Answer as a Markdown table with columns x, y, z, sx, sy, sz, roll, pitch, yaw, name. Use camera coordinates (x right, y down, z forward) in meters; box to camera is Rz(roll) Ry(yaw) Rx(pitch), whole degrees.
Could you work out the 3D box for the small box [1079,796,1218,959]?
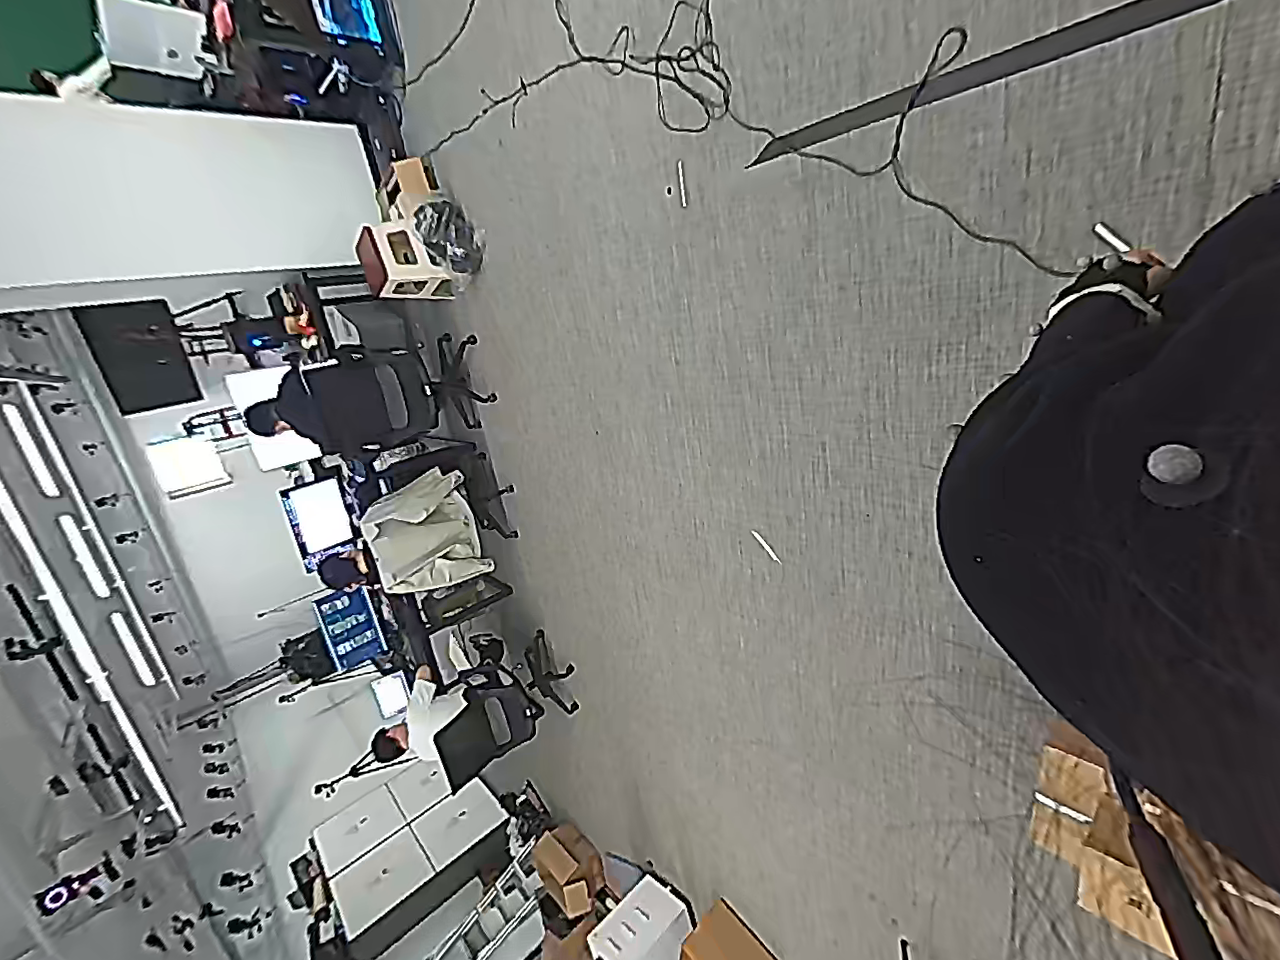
| x | y | z | sx | sy | sz | roll | pitch | yaw | name |
| --- | --- | --- | --- | --- | --- | --- | --- | --- | --- |
| 1.003 | 0.774 | 1.068 | 0.179 | 0.176 | 0.168 | 10 | 114 | 49 | small box |
